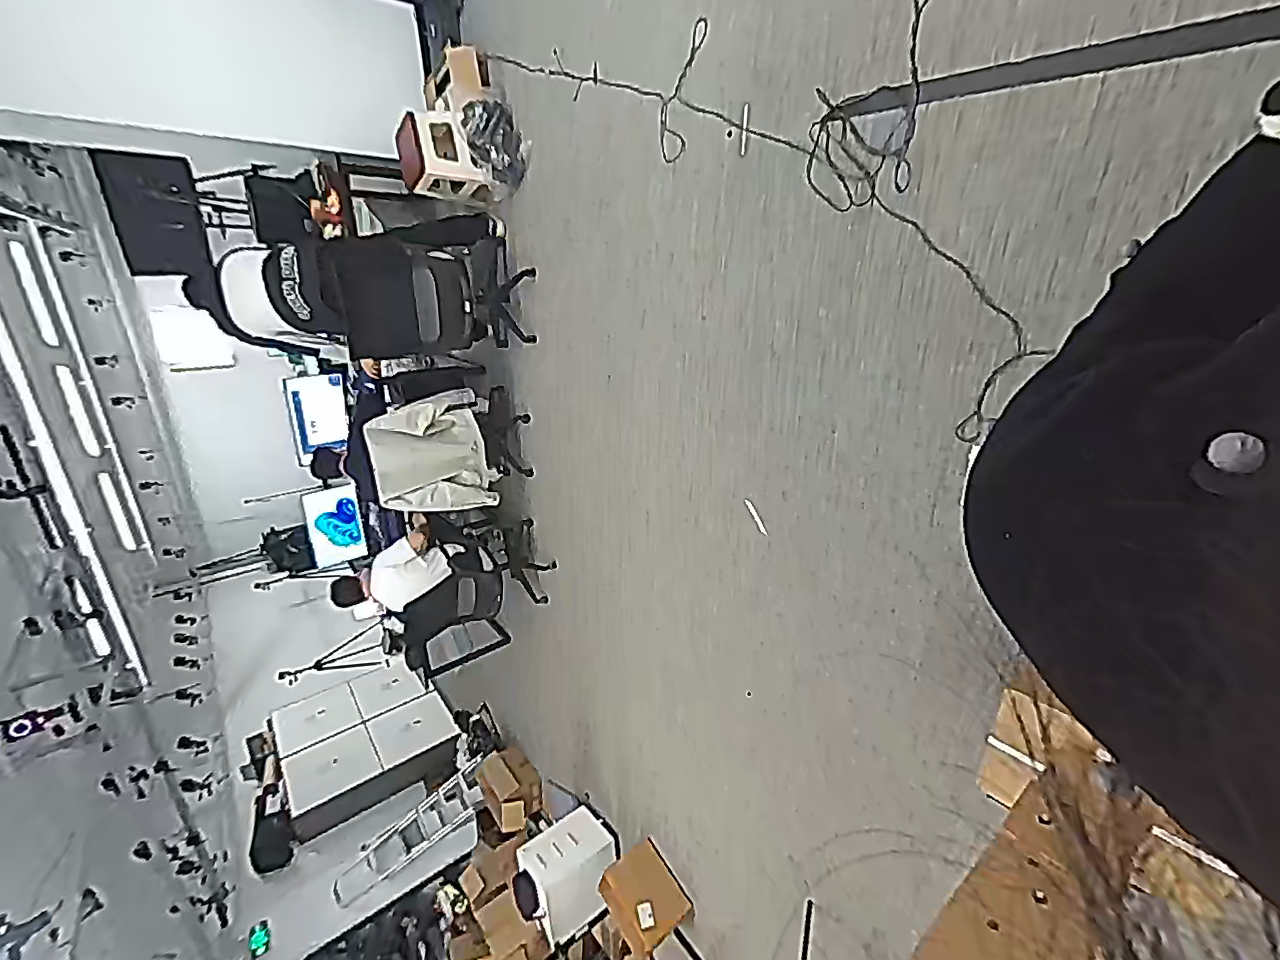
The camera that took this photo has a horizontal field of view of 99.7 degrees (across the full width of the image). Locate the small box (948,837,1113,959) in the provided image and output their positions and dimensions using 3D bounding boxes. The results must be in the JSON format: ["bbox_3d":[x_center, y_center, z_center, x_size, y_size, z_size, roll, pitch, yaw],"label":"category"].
[{"bbox_3d":[0.623,0.729,0.866,0.168,0.176,0.179,16,115,51],"label":"small box"}]

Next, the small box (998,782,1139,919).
[{"bbox_3d":[0.750,0.689,0.964,0.168,0.176,0.179,21,120,49],"label":"small box"}]

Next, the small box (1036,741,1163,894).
[{"bbox_3d":[0.879,0.659,1.057,0.168,0.176,0.179,22,119,47],"label":"small box"}]
